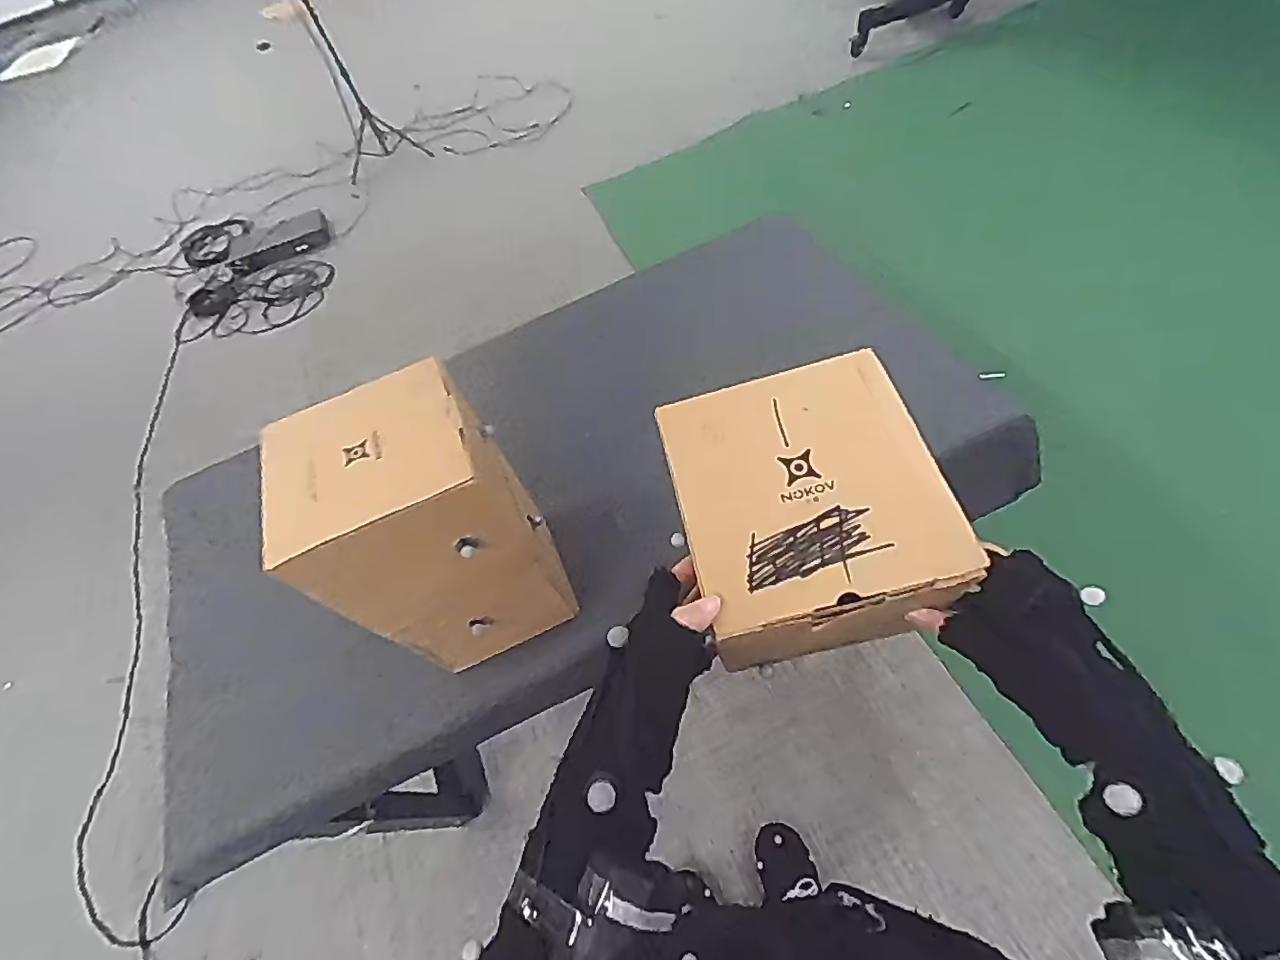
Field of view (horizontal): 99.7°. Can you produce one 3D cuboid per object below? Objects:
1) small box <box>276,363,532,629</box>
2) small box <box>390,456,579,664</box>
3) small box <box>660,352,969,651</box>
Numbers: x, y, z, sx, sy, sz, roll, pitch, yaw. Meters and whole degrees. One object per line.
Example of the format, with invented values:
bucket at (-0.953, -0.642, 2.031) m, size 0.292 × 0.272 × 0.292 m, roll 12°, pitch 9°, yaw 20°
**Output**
small box at (-0.223, 0.022, 0.543) m, size 0.179 × 0.176 × 0.168 m, roll -26°, pitch 55°, yaw -5°
small box at (-0.198, 0.107, 0.679) m, size 0.179 × 0.176 × 0.168 m, roll -25°, pitch 56°, yaw -5°
small box at (0.124, 0.033, 0.442) m, size 0.168 × 0.176 × 0.179 m, roll -14°, pitch 61°, yaw 5°
